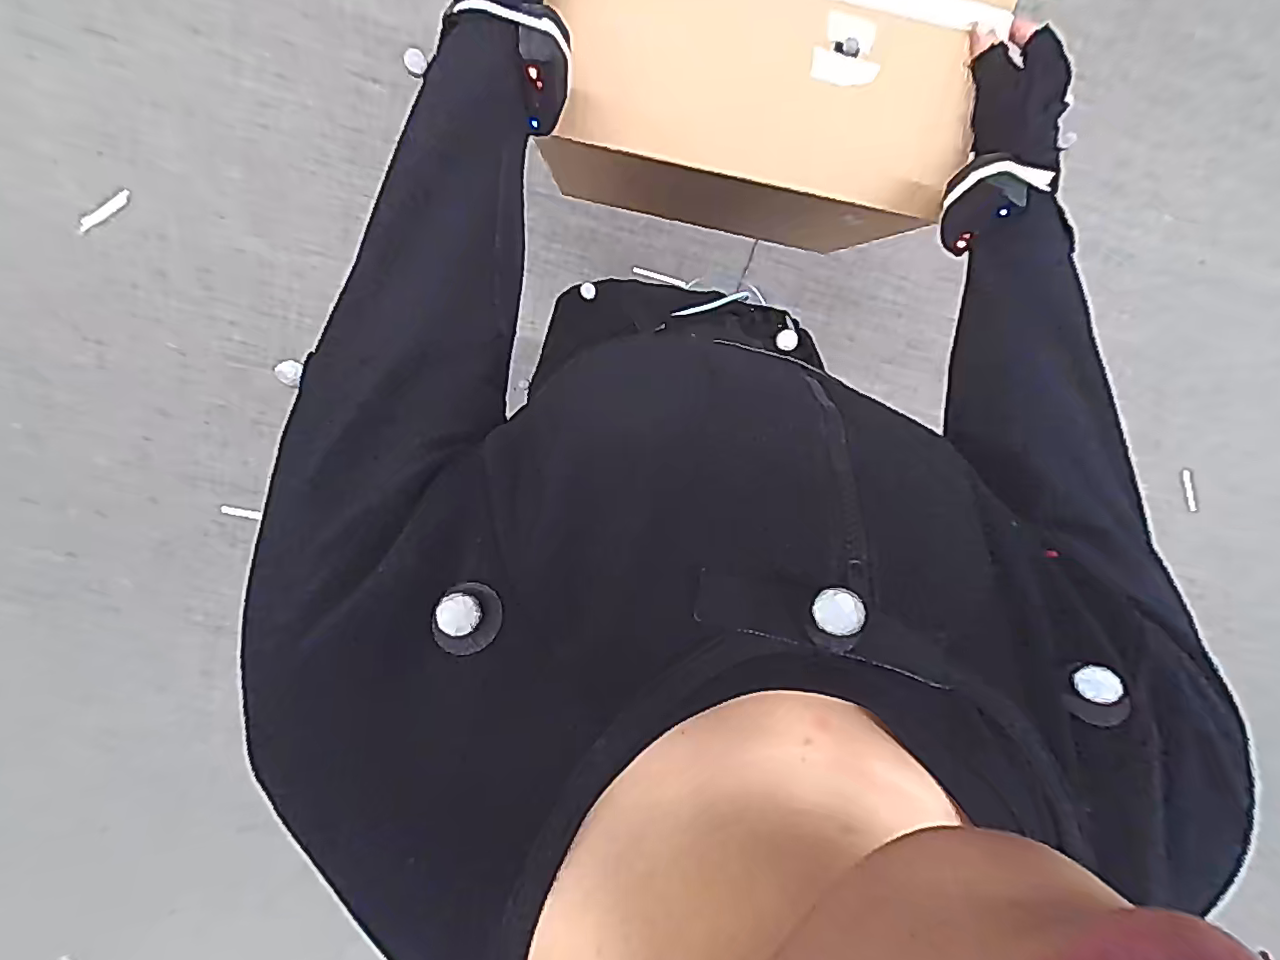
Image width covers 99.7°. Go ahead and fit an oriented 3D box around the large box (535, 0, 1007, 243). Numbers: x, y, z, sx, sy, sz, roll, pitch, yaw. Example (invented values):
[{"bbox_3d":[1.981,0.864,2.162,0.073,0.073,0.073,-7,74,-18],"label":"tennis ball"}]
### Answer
[{"bbox_3d":[0.117,-0.481,0.606,0.408,0.320,0.320,10,108,-6],"label":"large box"}]
